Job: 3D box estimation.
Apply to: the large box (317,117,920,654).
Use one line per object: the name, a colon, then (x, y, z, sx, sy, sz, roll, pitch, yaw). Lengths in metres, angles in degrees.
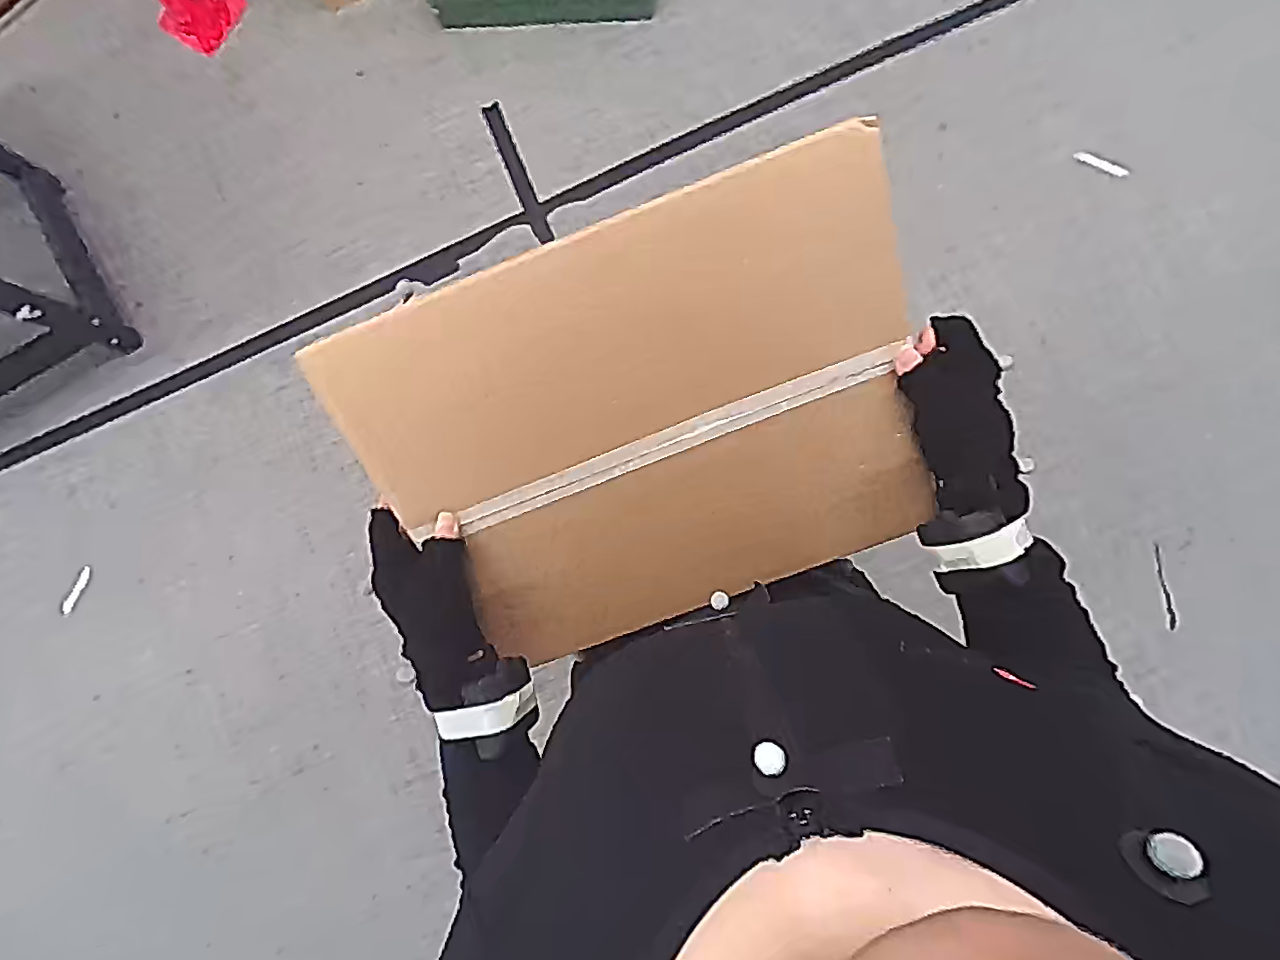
large box: (-0.006, -0.095, 0.558, 0.408, 0.320, 0.320, -21, 115, 4)
